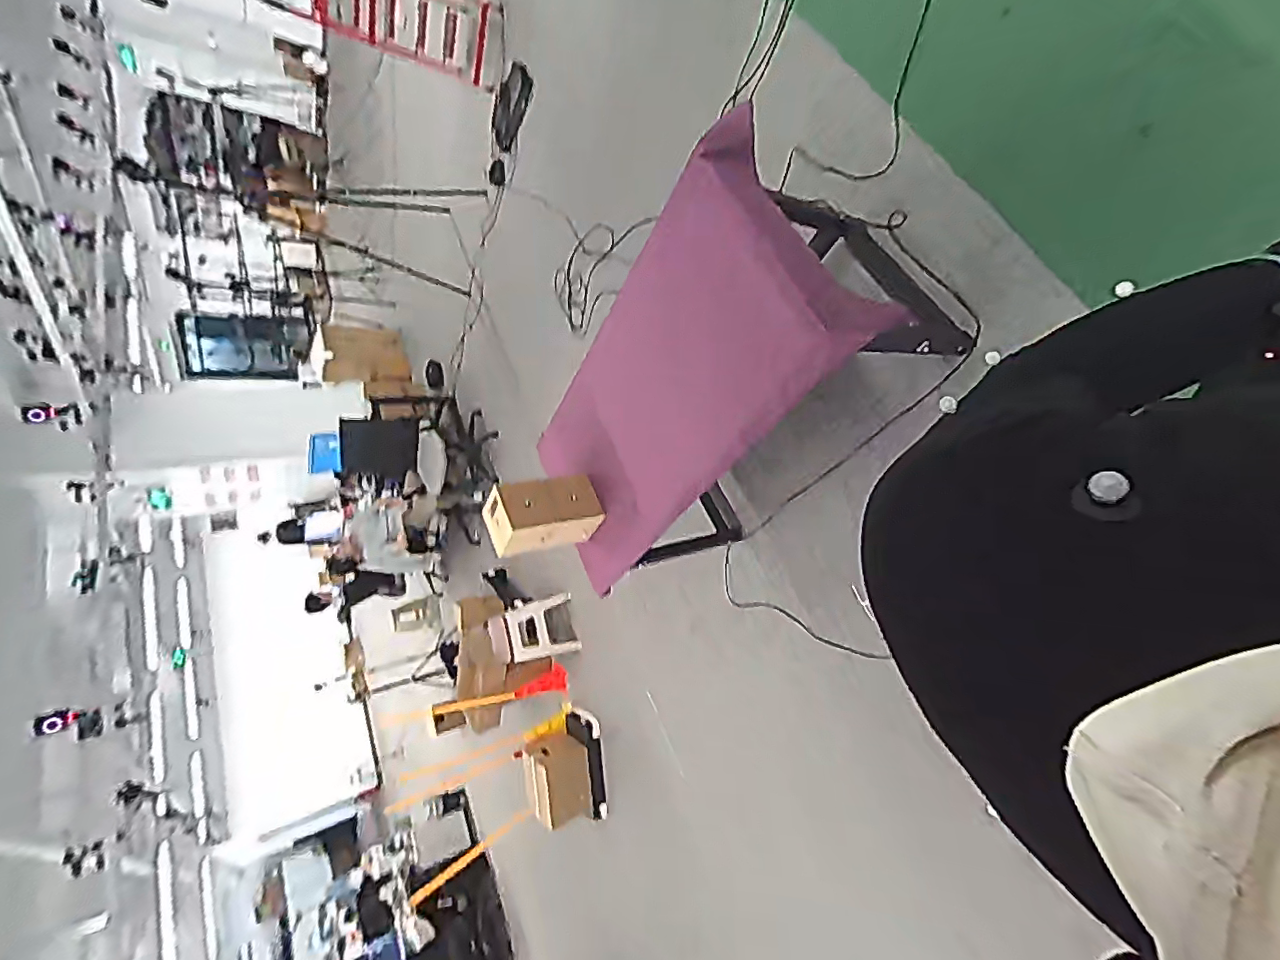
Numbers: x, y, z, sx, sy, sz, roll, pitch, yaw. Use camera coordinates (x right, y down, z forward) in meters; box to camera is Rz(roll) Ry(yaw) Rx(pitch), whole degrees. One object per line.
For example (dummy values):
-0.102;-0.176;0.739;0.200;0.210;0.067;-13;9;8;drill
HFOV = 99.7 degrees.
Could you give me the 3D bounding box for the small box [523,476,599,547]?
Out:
-0.265;0.099;1.806;0.168;0.176;0.179;-52;57;43;small box
